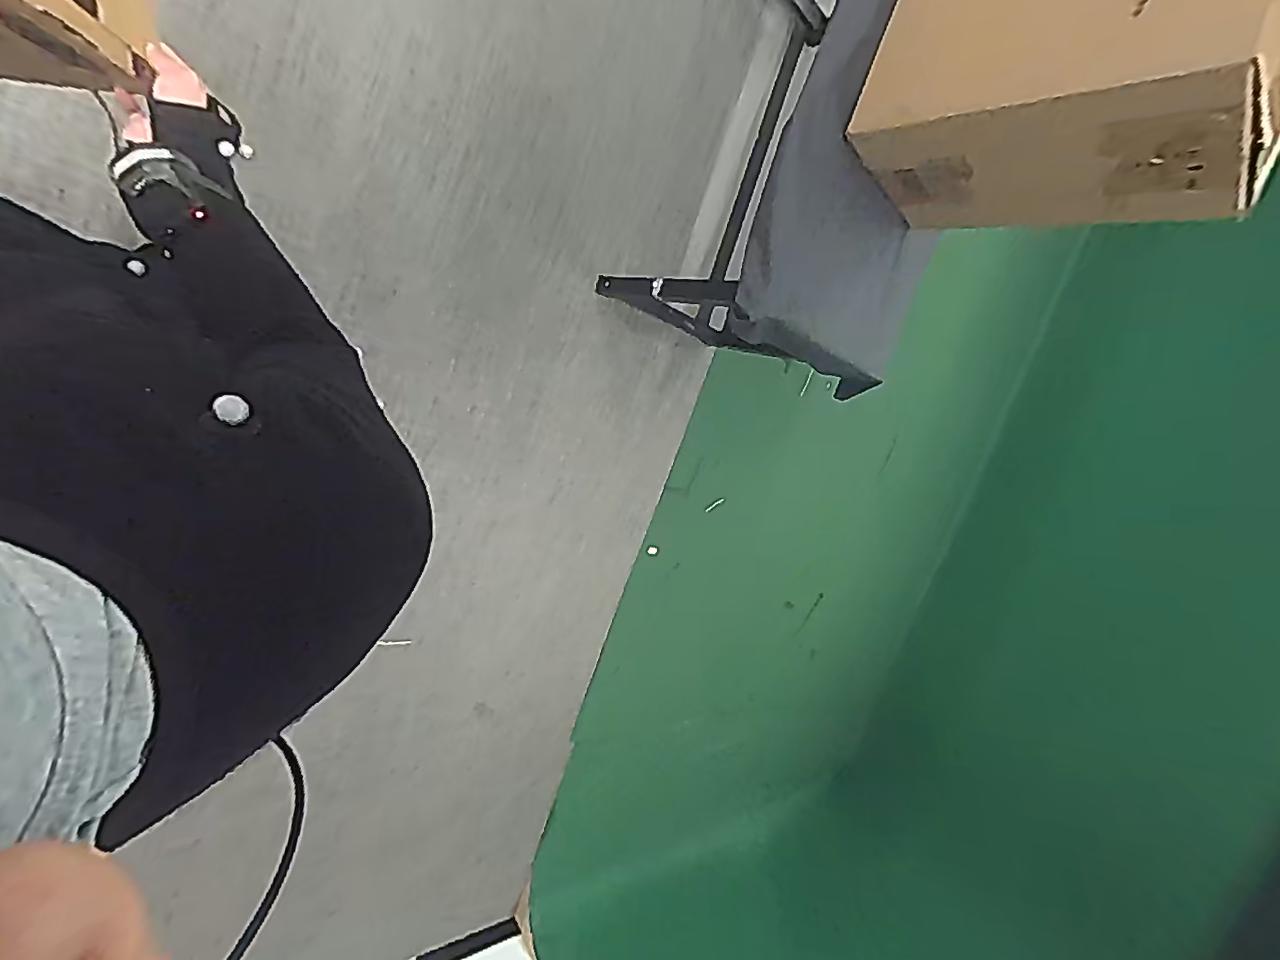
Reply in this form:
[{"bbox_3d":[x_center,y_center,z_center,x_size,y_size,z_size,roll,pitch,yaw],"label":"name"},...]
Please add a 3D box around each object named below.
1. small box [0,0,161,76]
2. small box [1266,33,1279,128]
[{"bbox_3d":[-0.517,-0.440,0.398,0.179,0.168,0.176,-2,95,-3],"label":"small box"},{"bbox_3d":[1.047,-0.648,0.769,0.168,0.176,0.179,15,96,-38],"label":"small box"}]
